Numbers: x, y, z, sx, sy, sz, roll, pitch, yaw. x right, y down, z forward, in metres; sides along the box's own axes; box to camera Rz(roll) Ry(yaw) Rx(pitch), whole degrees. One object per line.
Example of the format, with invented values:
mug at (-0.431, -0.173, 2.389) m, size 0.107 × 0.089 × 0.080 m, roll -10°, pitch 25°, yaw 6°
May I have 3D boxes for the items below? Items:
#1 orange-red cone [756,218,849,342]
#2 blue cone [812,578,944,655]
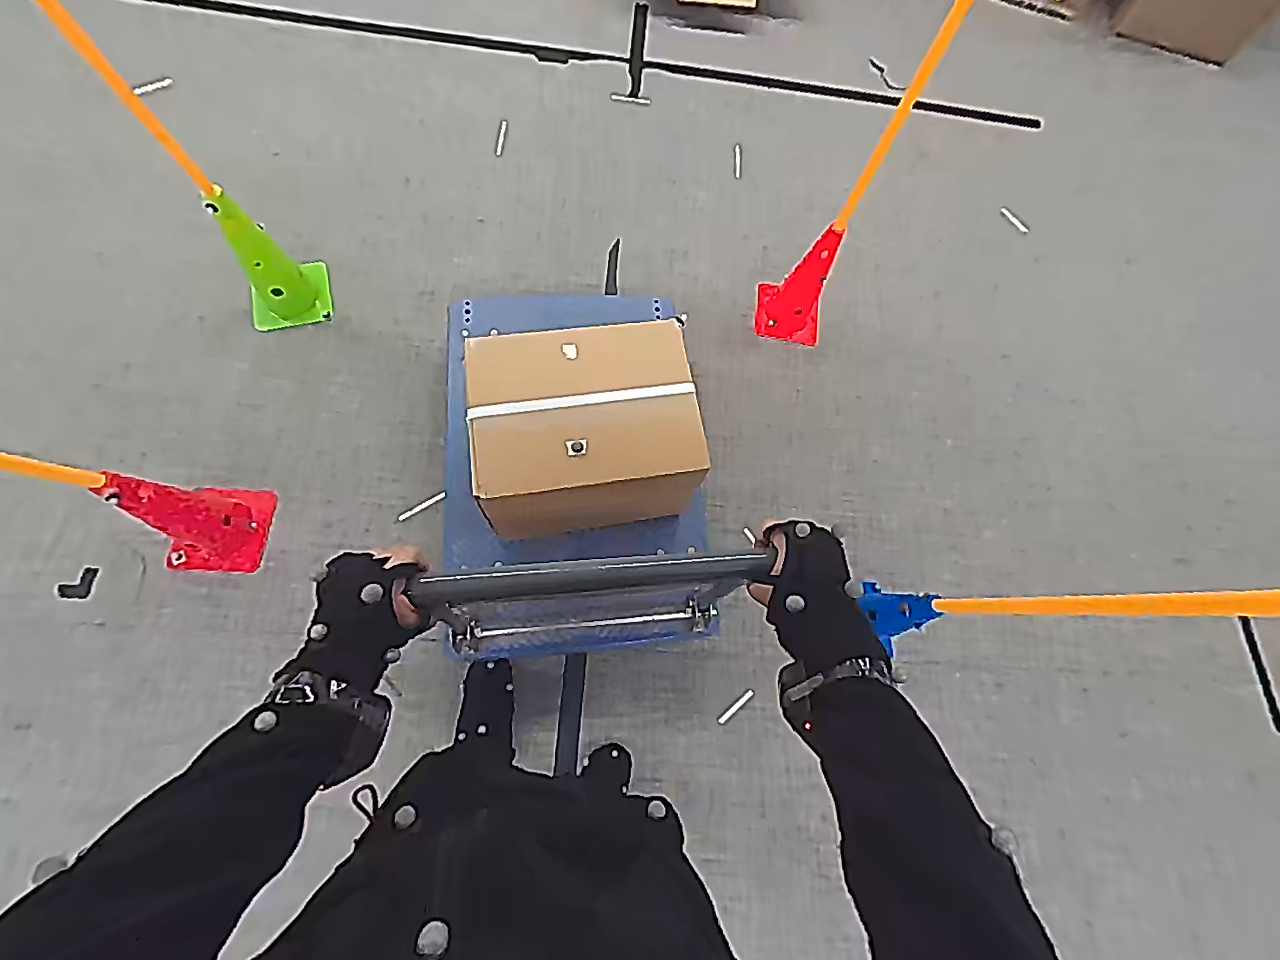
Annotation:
orange-red cone at (0.479, -0.577, 1.497) m, size 0.199 × 0.360 × 0.198 m, roll 11°, pitch 71°, yaw -4°
blue cone at (0.557, 0.288, 1.220) m, size 0.193 × 0.380 × 0.192 m, roll 1°, pitch 70°, yaw -7°
